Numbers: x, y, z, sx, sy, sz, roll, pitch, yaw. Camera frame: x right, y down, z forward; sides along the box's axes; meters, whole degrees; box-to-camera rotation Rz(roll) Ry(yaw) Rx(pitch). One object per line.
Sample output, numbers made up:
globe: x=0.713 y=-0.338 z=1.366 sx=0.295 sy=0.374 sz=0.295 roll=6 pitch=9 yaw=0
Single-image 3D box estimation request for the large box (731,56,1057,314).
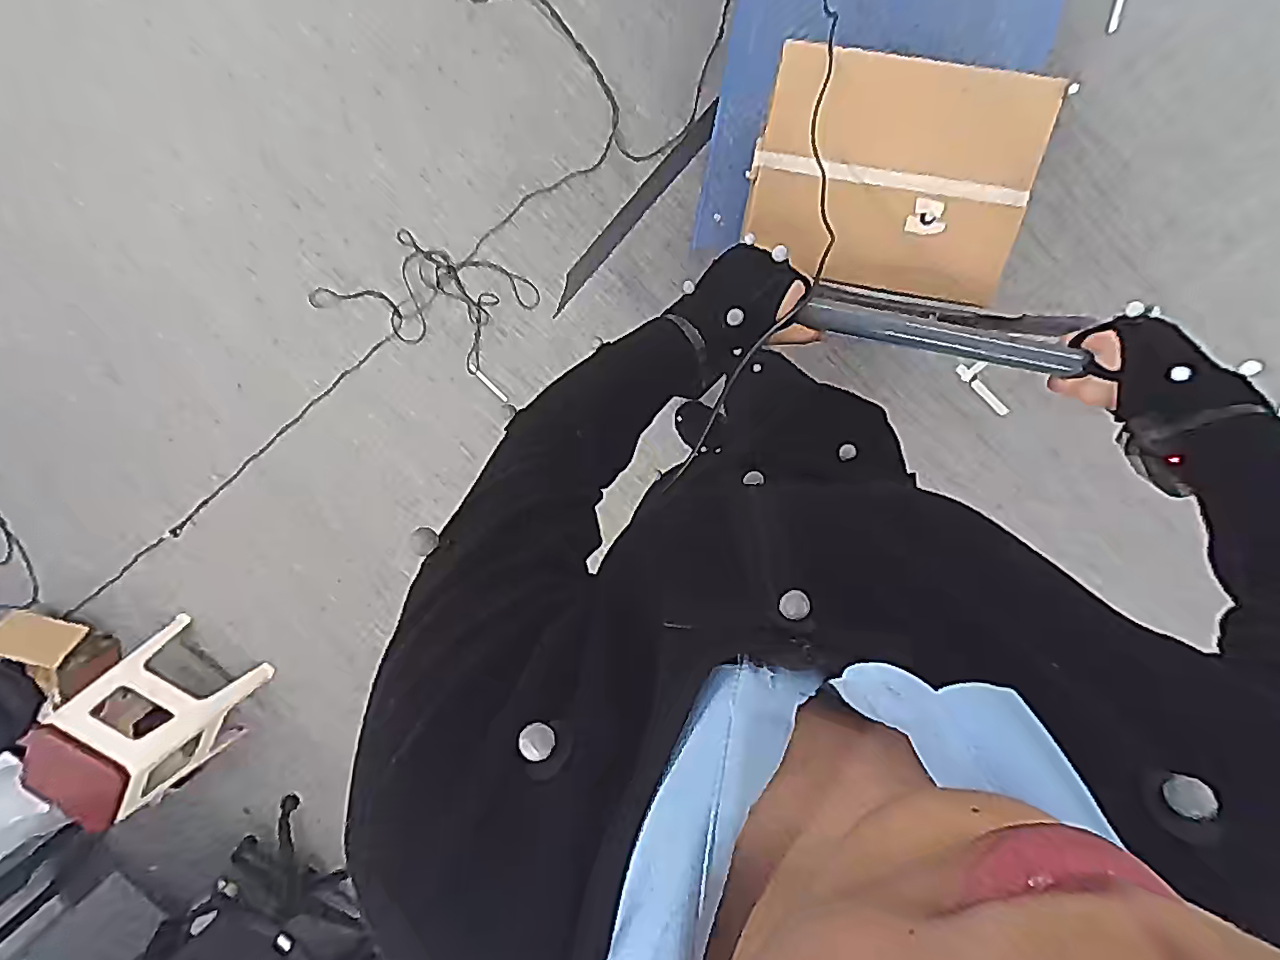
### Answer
large box: x=0.395 y=-0.489 z=0.970 sx=0.408 sy=0.320 sz=0.320 roll=12 pitch=109 yaw=3
